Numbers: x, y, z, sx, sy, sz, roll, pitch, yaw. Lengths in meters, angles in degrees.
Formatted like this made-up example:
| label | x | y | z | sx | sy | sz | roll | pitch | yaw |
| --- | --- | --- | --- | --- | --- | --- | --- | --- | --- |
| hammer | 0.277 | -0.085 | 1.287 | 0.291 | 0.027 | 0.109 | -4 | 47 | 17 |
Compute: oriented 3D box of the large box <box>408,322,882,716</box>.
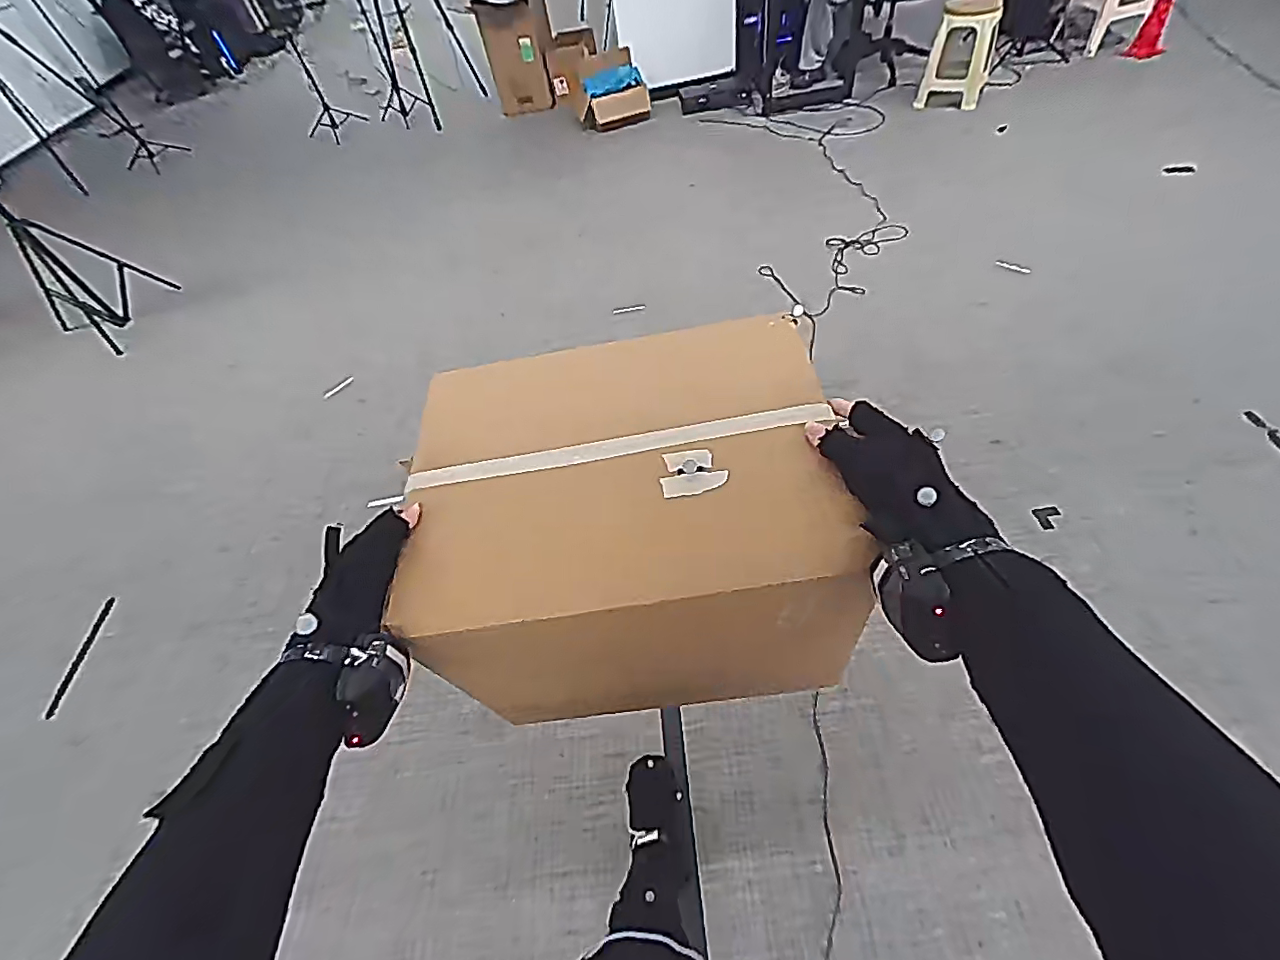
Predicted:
| label | x | y | z | sx | sy | sz | roll | pitch | yaw |
| --- | --- | --- | --- | --- | --- | --- | --- | --- | --- |
| large box | 0.005 | 0.061 | 0.646 | 0.408 | 0.320 | 0.320 | -9 | 53 | 4 |
